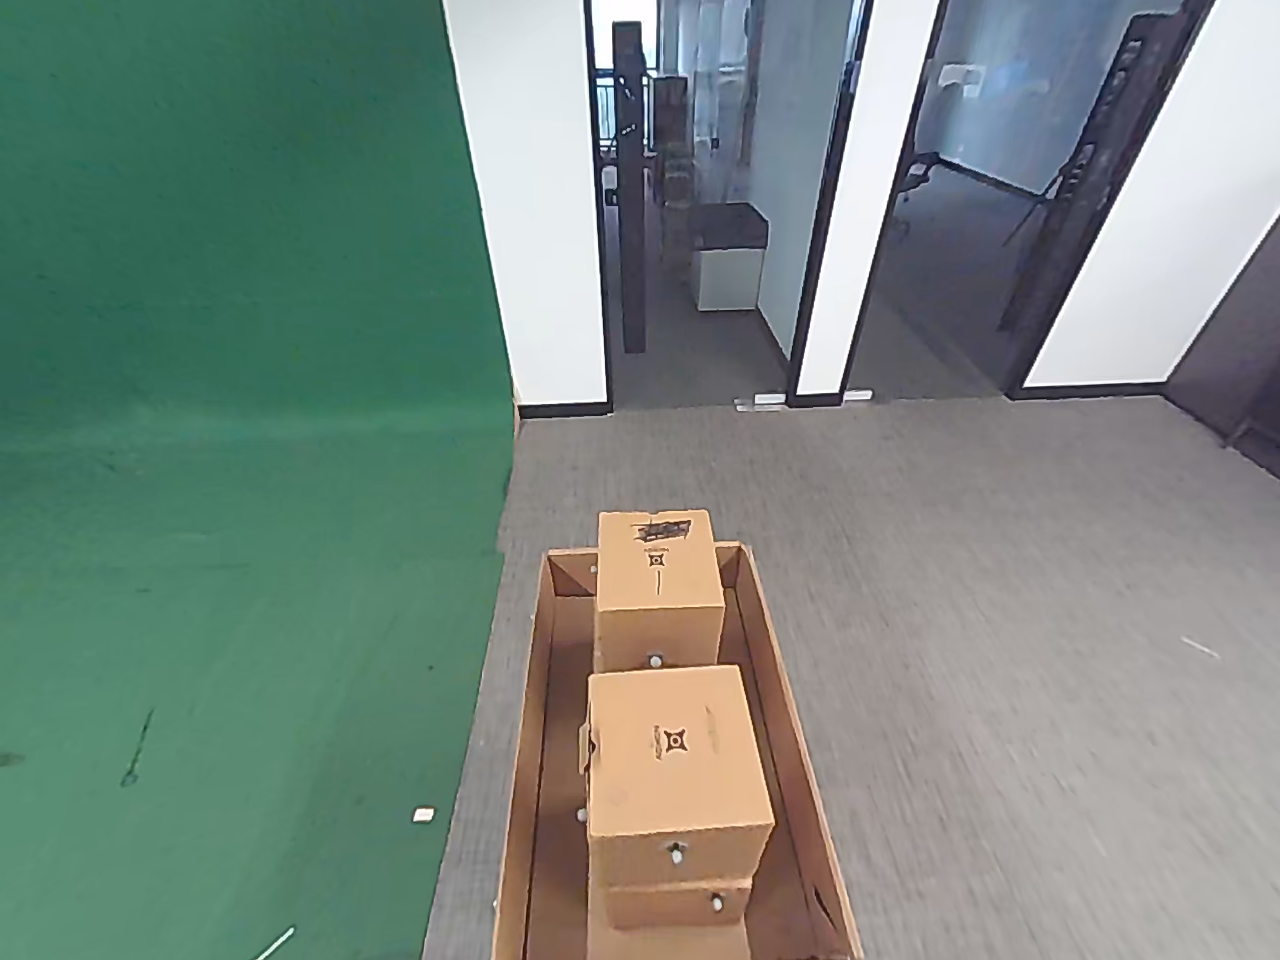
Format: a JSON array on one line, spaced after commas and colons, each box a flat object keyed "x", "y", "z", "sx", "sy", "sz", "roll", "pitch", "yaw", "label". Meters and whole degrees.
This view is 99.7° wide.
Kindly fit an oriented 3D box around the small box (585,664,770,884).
[{"x": 0.032, "y": 0.332, "z": 0.612, "sx": 0.179, "sy": 0.176, "sz": 0.168, "roll": -3, "pitch": 40, "yaw": -3, "label": "small box"}]

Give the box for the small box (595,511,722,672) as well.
[{"x": 0.022, "y": 0.166, "z": 0.802, "sx": 0.168, "sy": 0.176, "sz": 0.179, "roll": -2, "pitch": 42, "yaw": -1, "label": "small box"}]
